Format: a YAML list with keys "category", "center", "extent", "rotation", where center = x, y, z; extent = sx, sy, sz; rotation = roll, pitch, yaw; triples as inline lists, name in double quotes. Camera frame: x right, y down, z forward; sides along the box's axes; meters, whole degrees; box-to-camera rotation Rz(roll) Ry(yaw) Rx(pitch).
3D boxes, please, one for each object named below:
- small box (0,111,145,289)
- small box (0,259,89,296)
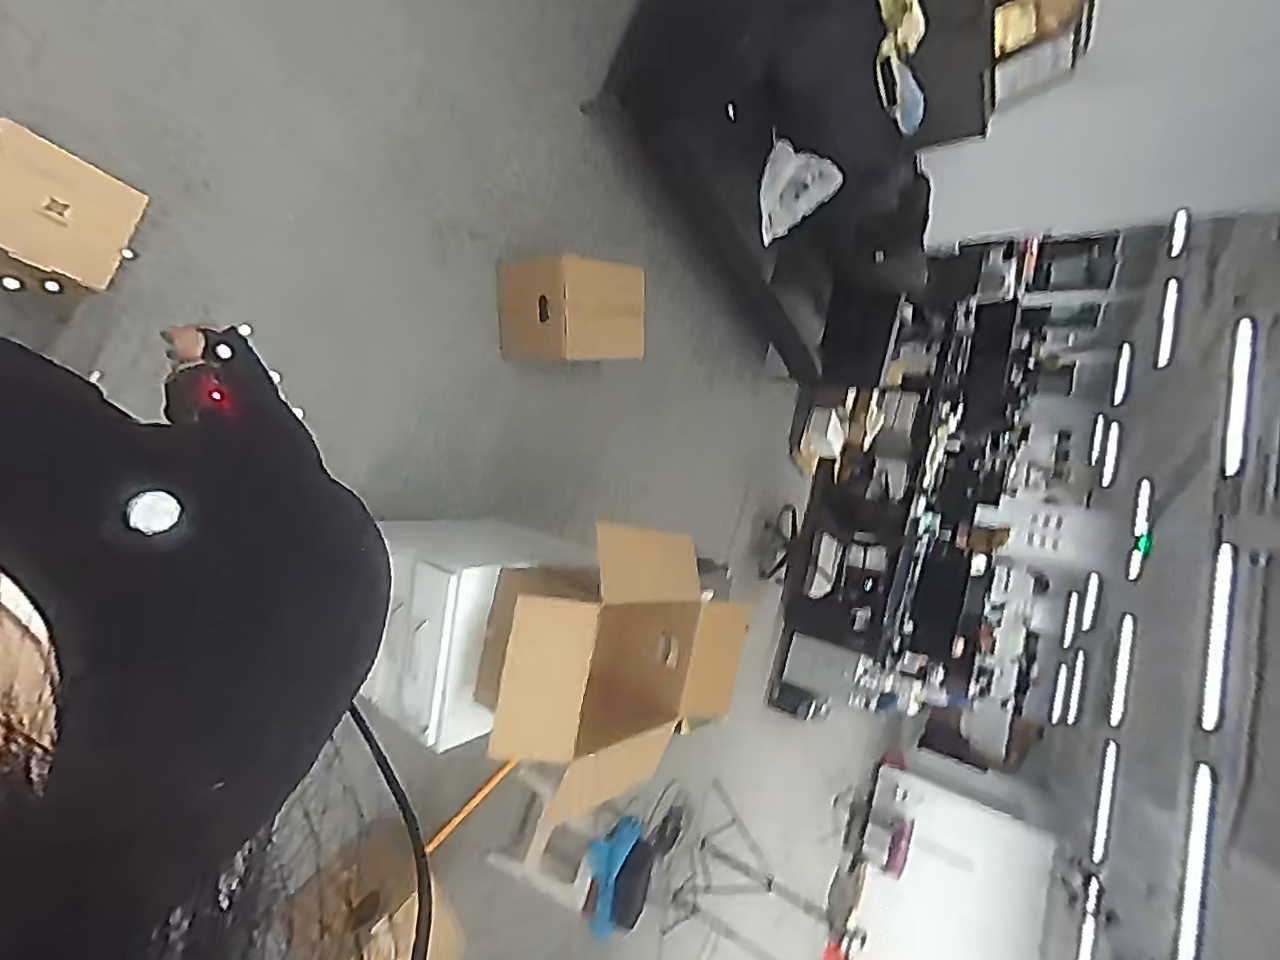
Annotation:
- category: "small box"
  center: [-0.930, -0.418, 0.842]
  extent: [0.168, 0.176, 0.179]
  rotation: [28, 74, -55]
- category: "small box"
  center: [-1.055, -0.439, 0.945]
  extent: [0.168, 0.176, 0.179]
  rotation: [32, 73, -53]
